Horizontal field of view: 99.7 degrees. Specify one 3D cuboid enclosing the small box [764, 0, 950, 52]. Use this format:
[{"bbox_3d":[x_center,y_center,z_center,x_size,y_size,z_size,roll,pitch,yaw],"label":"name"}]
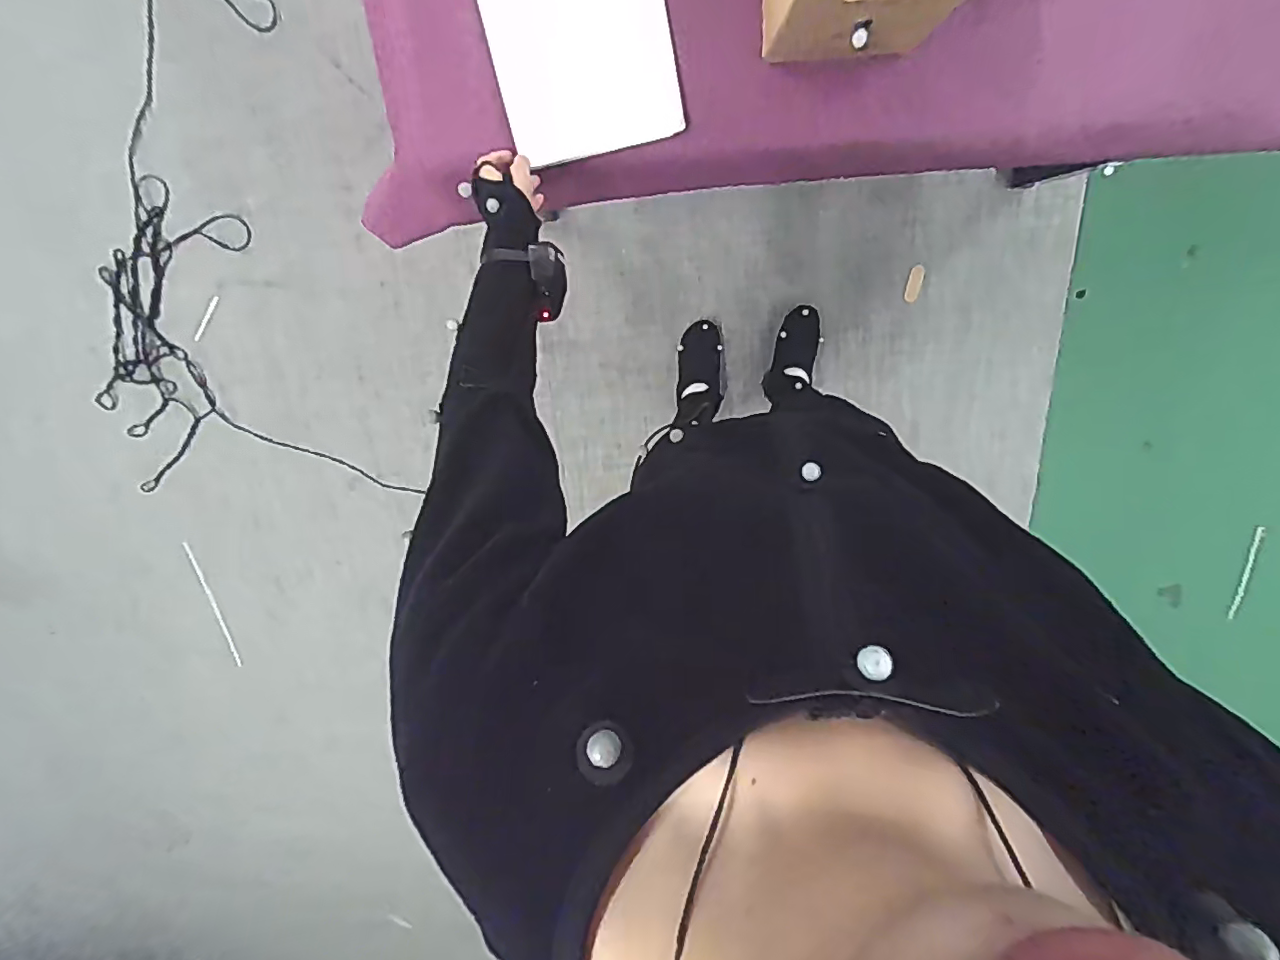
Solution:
[{"bbox_3d":[0.212,-0.526,0.497,0.168,0.176,0.179,-3,110,2],"label":"small box"}]
